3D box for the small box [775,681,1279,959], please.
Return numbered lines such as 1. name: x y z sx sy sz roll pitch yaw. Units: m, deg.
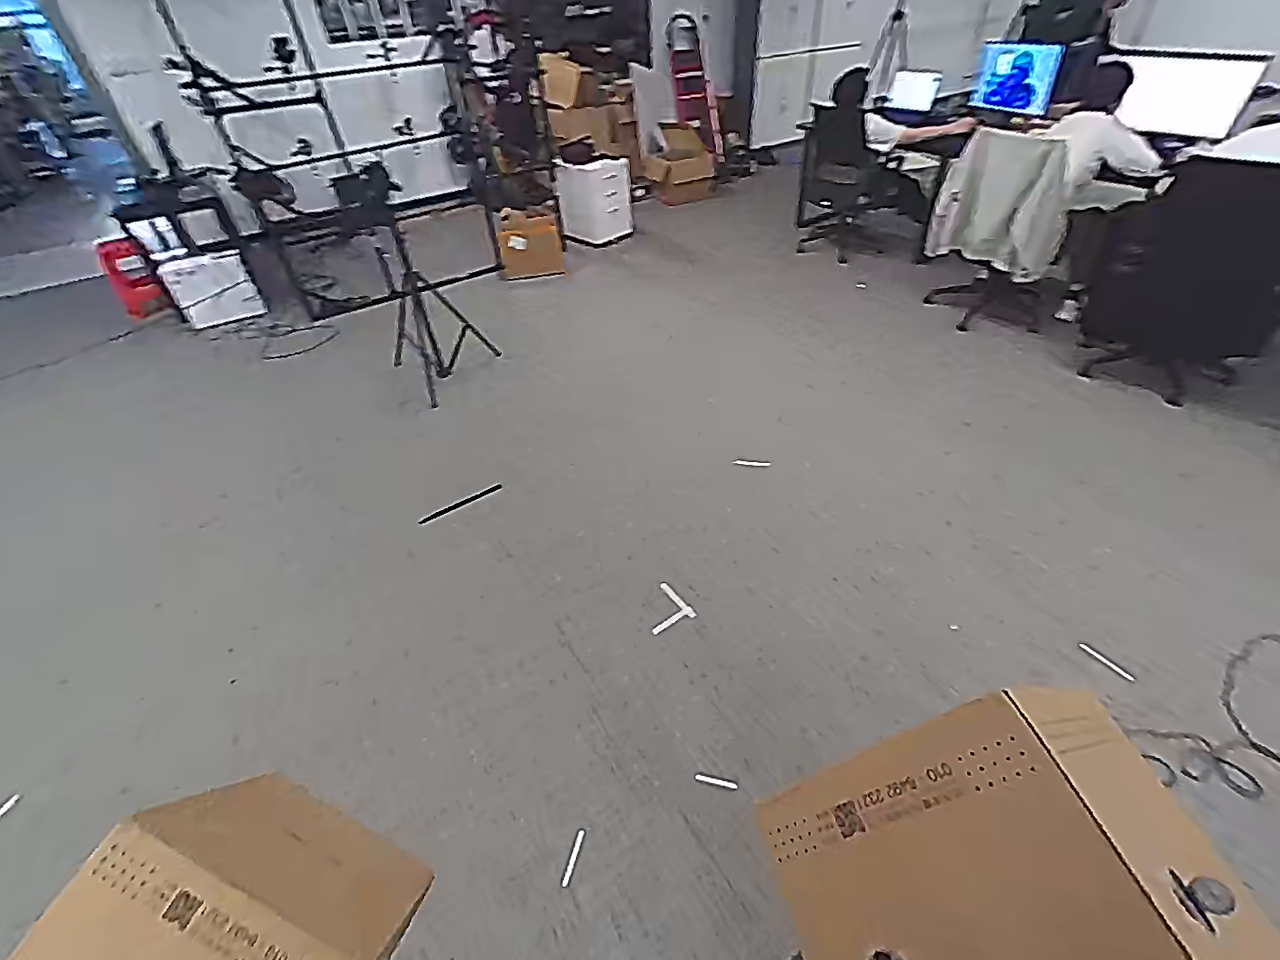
1. small box: 0.203 0.217 0.282 0.179 0.168 0.176 18 40 -38
